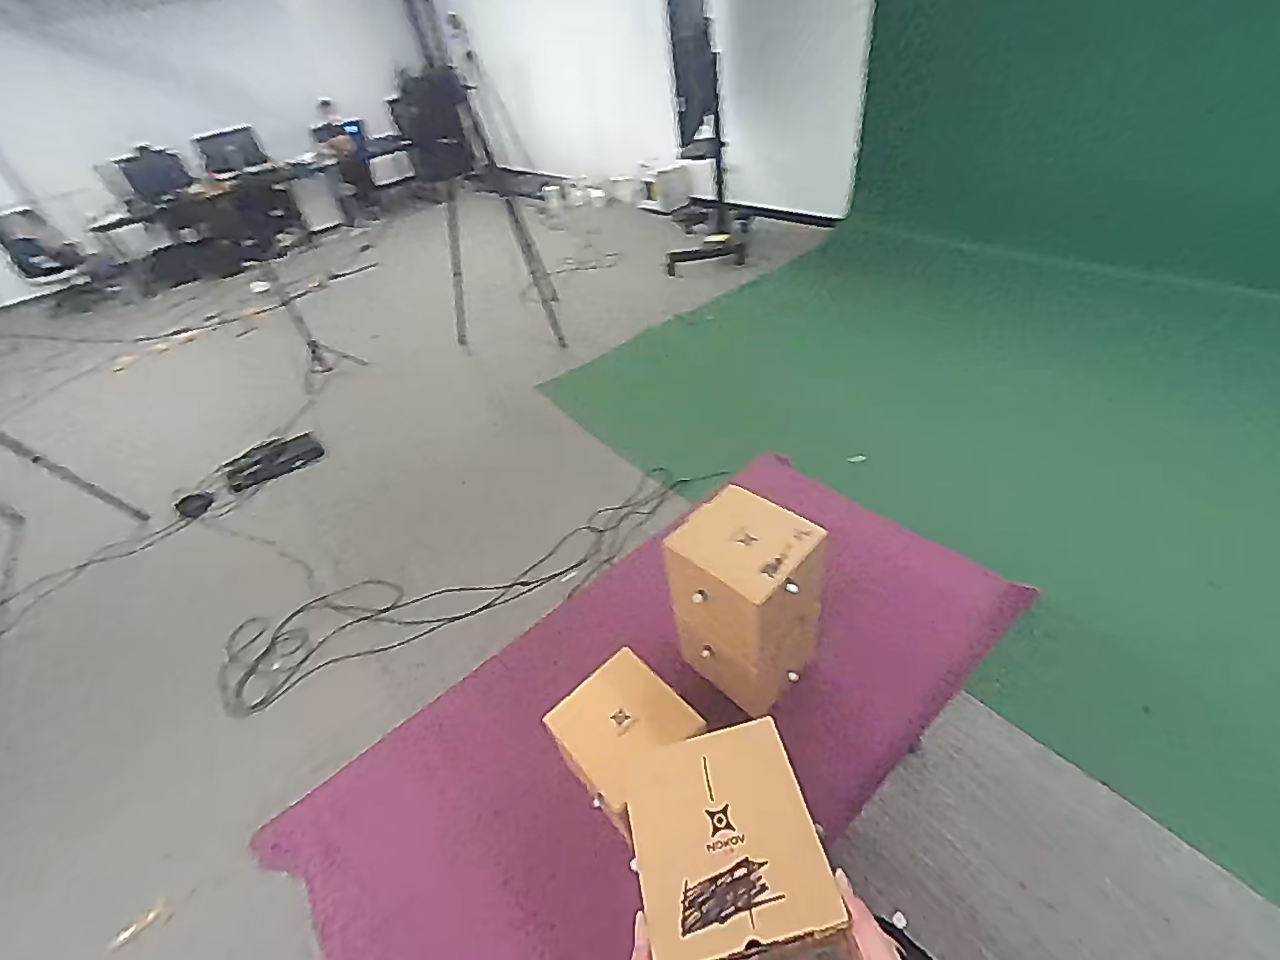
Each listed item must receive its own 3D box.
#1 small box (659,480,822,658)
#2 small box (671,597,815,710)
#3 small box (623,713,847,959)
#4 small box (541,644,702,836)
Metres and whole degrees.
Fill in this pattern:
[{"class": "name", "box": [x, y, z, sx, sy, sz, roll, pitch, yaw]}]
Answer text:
[{"class": "small box", "box": [0.154, 0.135, 0.828, 0.168, 0.176, 0.179, -38, 47, -27]}, {"class": "small box", "box": [0.176, 0.257, 0.935, 0.168, 0.176, 0.179, -37, 48, -27]}, {"class": "small box", "box": [0.088, 0.371, 0.546, 0.168, 0.176, 0.179, -13, 43, -2]}, {"class": "small box", "box": [-0.021, 0.396, 0.824, 0.168, 0.176, 0.179, -36, 48, -26]}]
